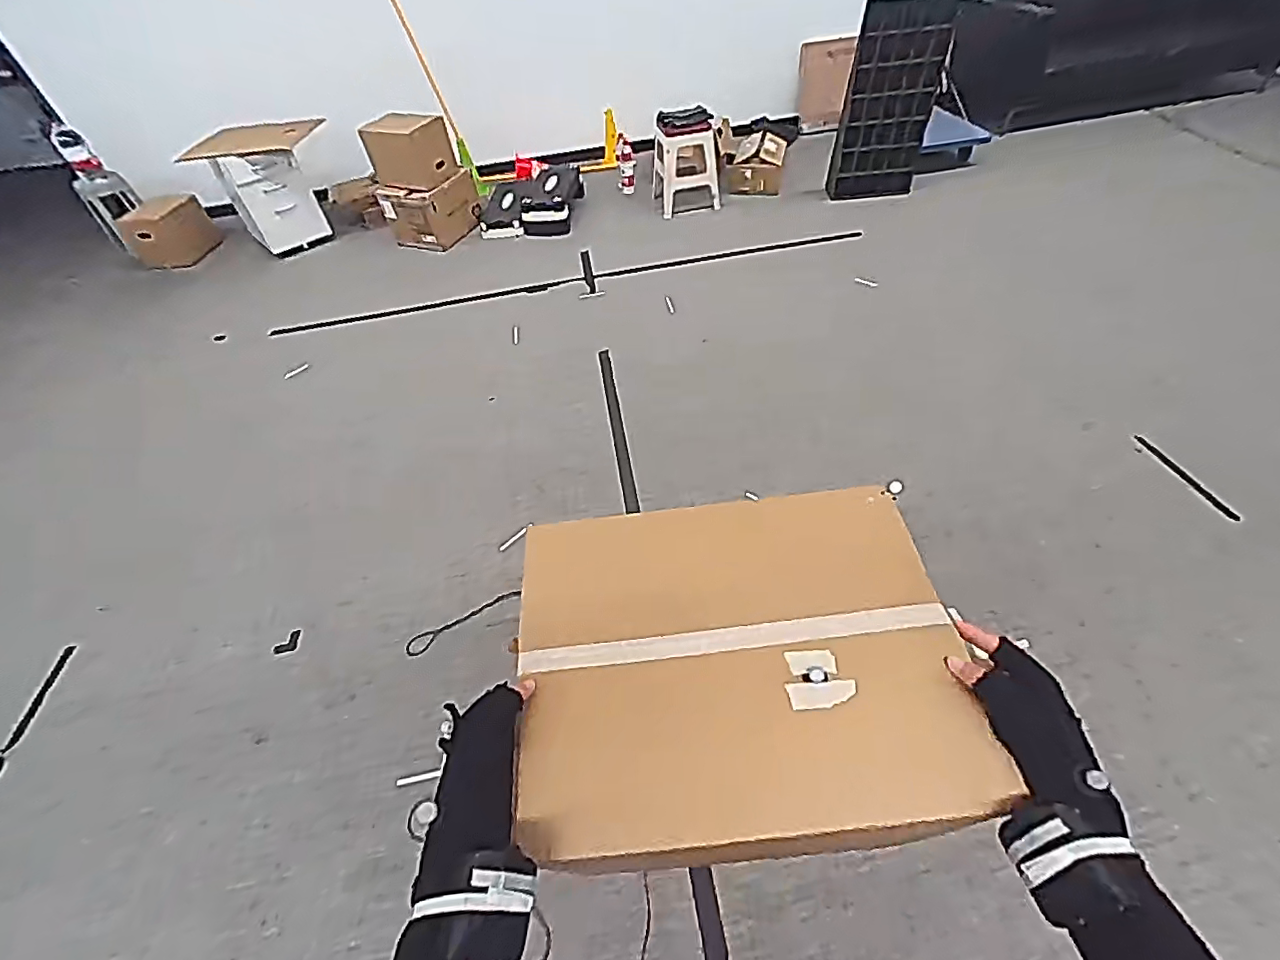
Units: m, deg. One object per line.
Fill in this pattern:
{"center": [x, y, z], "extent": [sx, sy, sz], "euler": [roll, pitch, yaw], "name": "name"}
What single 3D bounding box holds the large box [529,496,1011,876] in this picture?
{"center": [0.101, 0.253, 0.642], "extent": [0.408, 0.320, 0.320], "euler": [-7, 53, 1], "name": "large box"}
